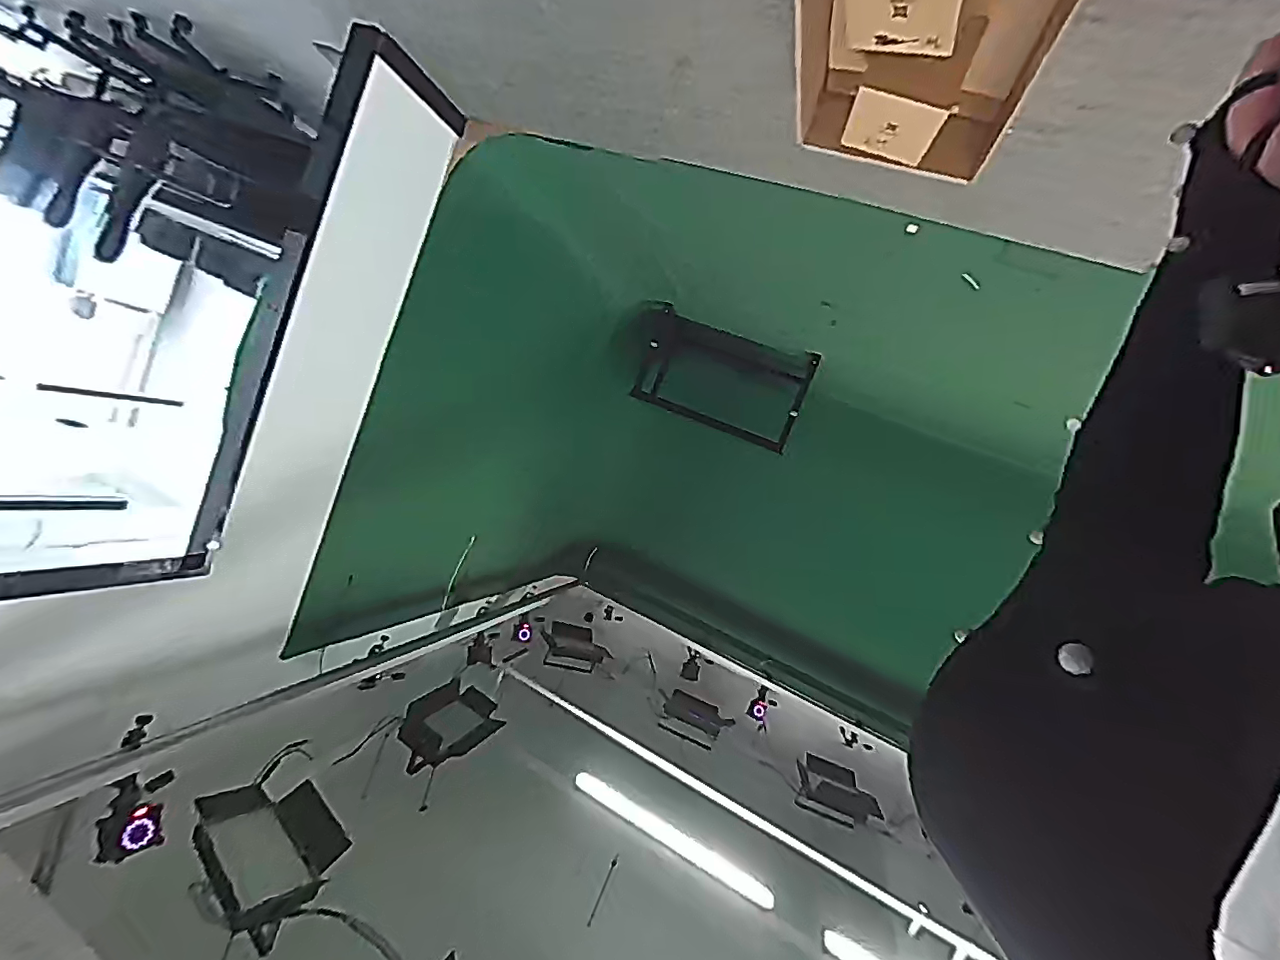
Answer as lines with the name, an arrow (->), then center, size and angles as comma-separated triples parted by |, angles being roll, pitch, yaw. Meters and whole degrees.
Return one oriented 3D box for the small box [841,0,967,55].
small box -> 0.403, -0.770, 0.782 | 0.168, 0.176, 0.179 | 23, -174, 20
